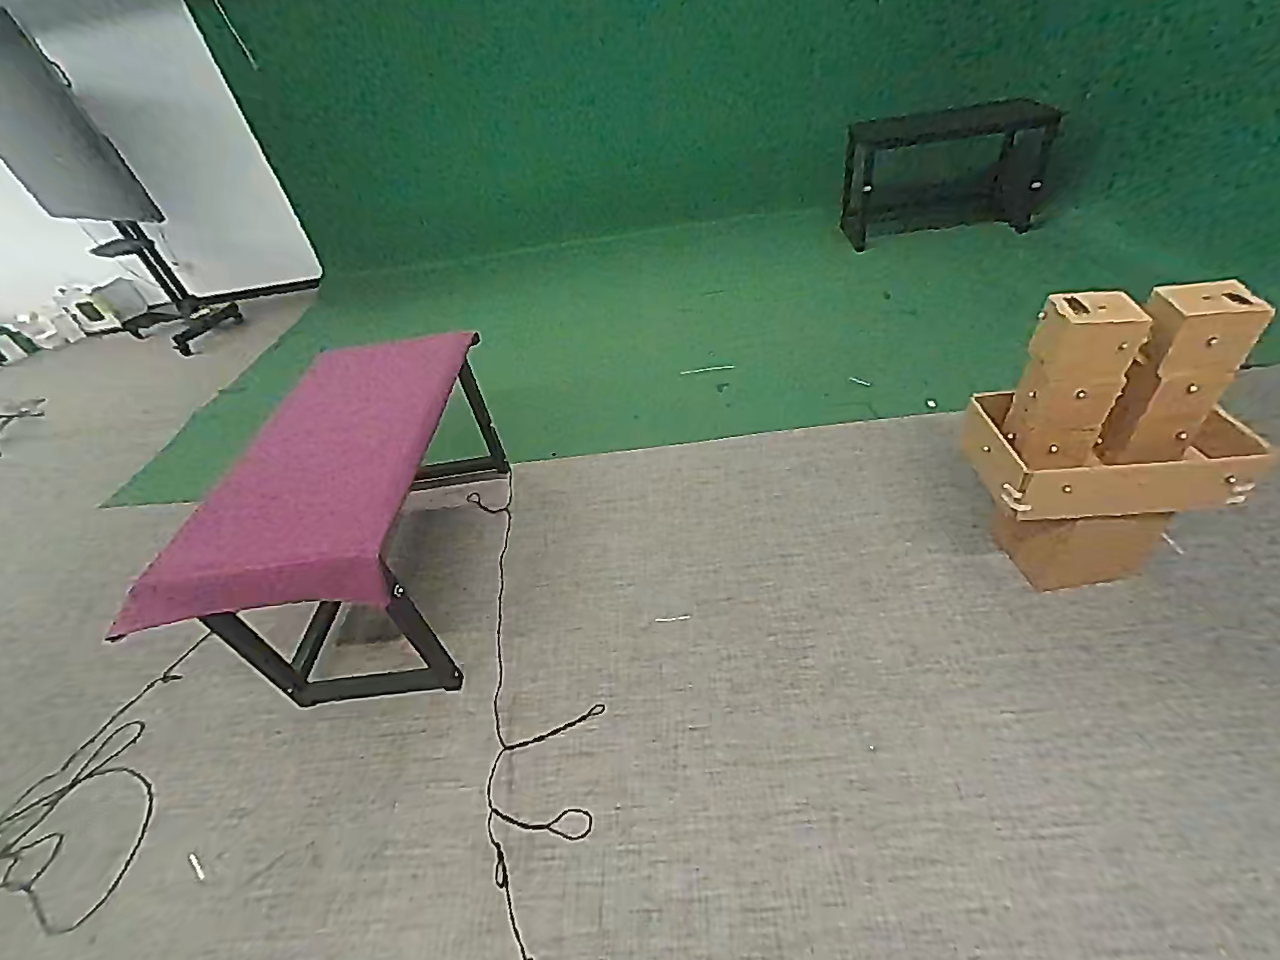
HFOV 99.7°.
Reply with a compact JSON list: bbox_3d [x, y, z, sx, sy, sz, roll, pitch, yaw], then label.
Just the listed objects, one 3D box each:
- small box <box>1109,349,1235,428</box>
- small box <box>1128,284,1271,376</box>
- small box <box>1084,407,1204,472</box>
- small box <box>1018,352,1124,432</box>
[{"bbox_3d":[1.454,-0.262,1.503,0.179,0.176,0.168,-7,41,8],"label":"small box"},{"bbox_3d":[1.431,-0.386,1.399,0.179,0.176,0.168,-1,42,15],"label":"small box"},{"bbox_3d":[1.483,-0.142,1.607,0.179,0.176,0.168,-6,40,7],"label":"small box"},{"bbox_3d":[1.209,-0.250,1.539,0.179,0.176,0.168,3,43,14],"label":"small box"}]
